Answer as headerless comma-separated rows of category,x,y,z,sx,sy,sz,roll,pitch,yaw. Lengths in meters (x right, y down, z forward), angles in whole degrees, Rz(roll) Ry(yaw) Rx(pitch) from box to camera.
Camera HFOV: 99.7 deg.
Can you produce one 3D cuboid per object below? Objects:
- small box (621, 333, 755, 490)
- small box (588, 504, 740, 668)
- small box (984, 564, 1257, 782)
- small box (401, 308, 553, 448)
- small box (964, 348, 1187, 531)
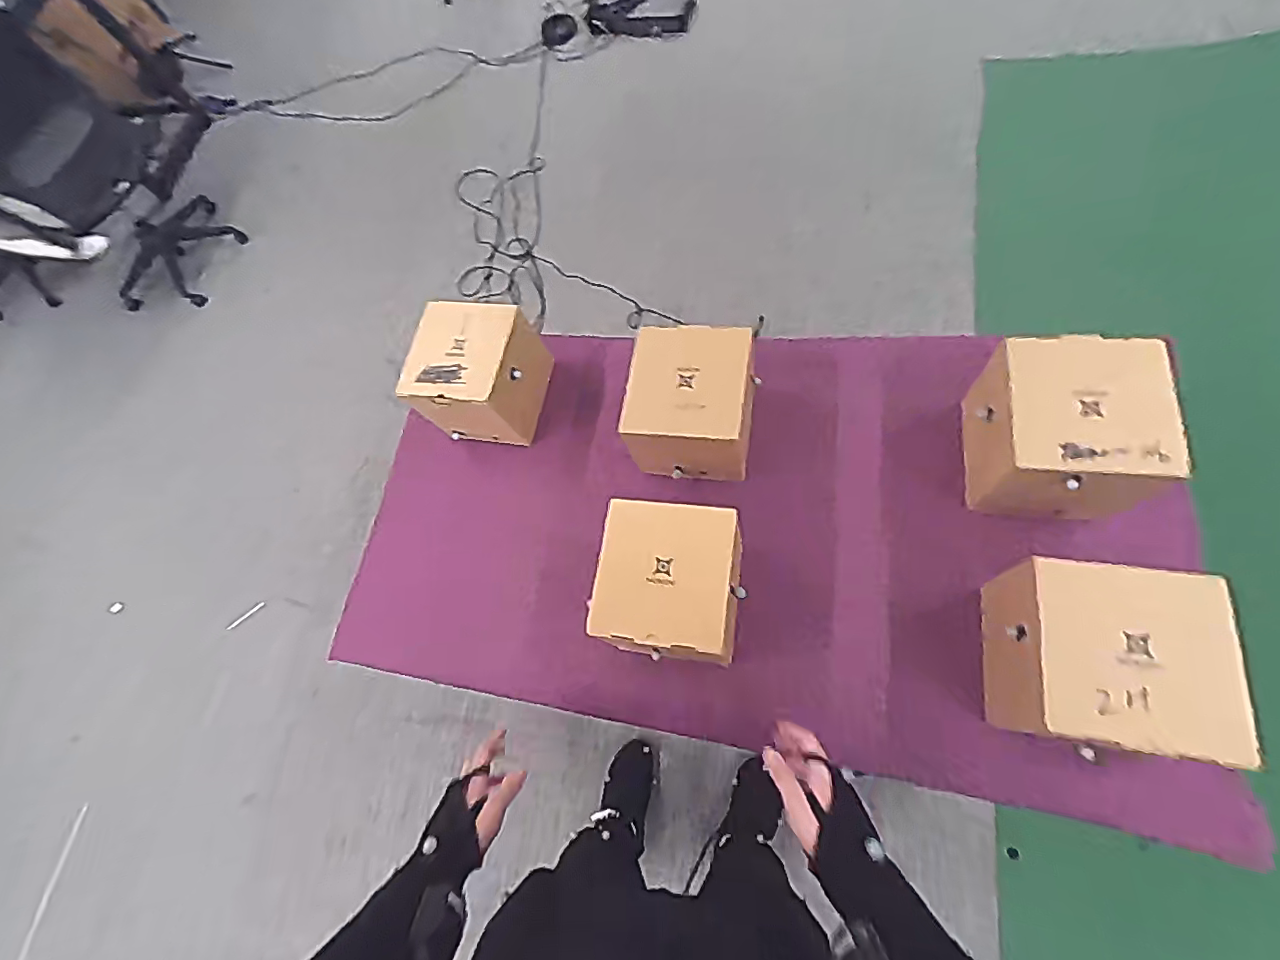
small box,0.083,-0.101,0.823,0.168,0.176,0.179,6,71,16
small box,0.044,0.148,0.731,0.168,0.176,0.179,5,70,14
small box,0.499,0.209,0.597,0.168,0.176,0.179,6,69,17
small box,-0.265,-0.168,0.924,0.168,0.176,0.179,8,71,15
small box,0.535,-0.048,0.696,0.168,0.176,0.179,4,69,15
